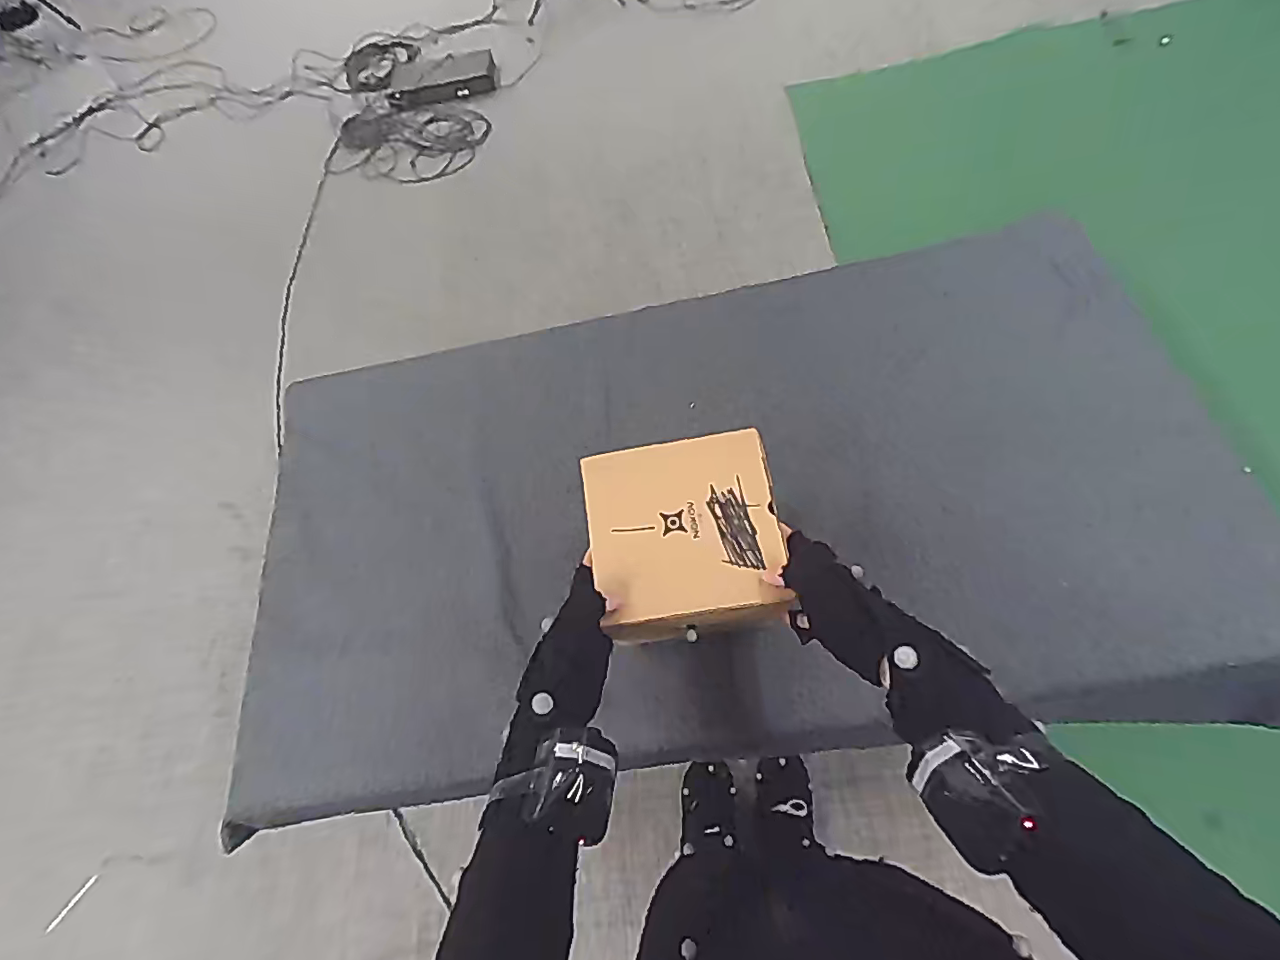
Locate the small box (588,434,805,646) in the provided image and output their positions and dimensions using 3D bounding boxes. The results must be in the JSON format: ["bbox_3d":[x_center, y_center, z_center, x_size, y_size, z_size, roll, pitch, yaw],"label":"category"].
[{"bbox_3d":[0.051,0.073,0.576,0.179,0.176,0.168,-12,67,-1],"label":"small box"}]
